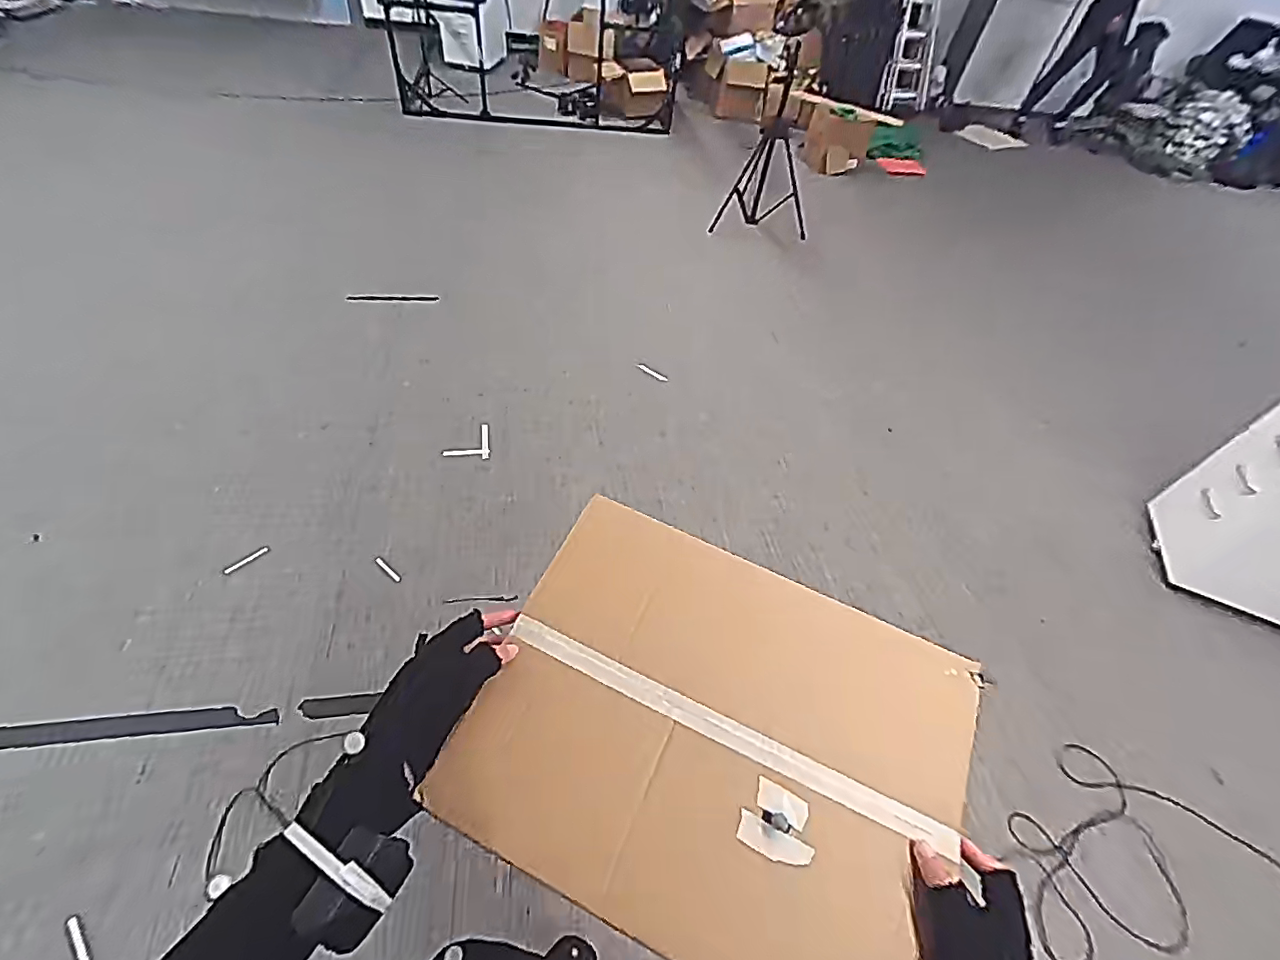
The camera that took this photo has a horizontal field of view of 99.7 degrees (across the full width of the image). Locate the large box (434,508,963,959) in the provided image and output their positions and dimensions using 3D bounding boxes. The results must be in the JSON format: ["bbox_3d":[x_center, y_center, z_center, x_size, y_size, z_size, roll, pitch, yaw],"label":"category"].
[{"bbox_3d":[0.060,0.295,0.608,0.408,0.320,0.320,24,61,10],"label":"large box"}]
